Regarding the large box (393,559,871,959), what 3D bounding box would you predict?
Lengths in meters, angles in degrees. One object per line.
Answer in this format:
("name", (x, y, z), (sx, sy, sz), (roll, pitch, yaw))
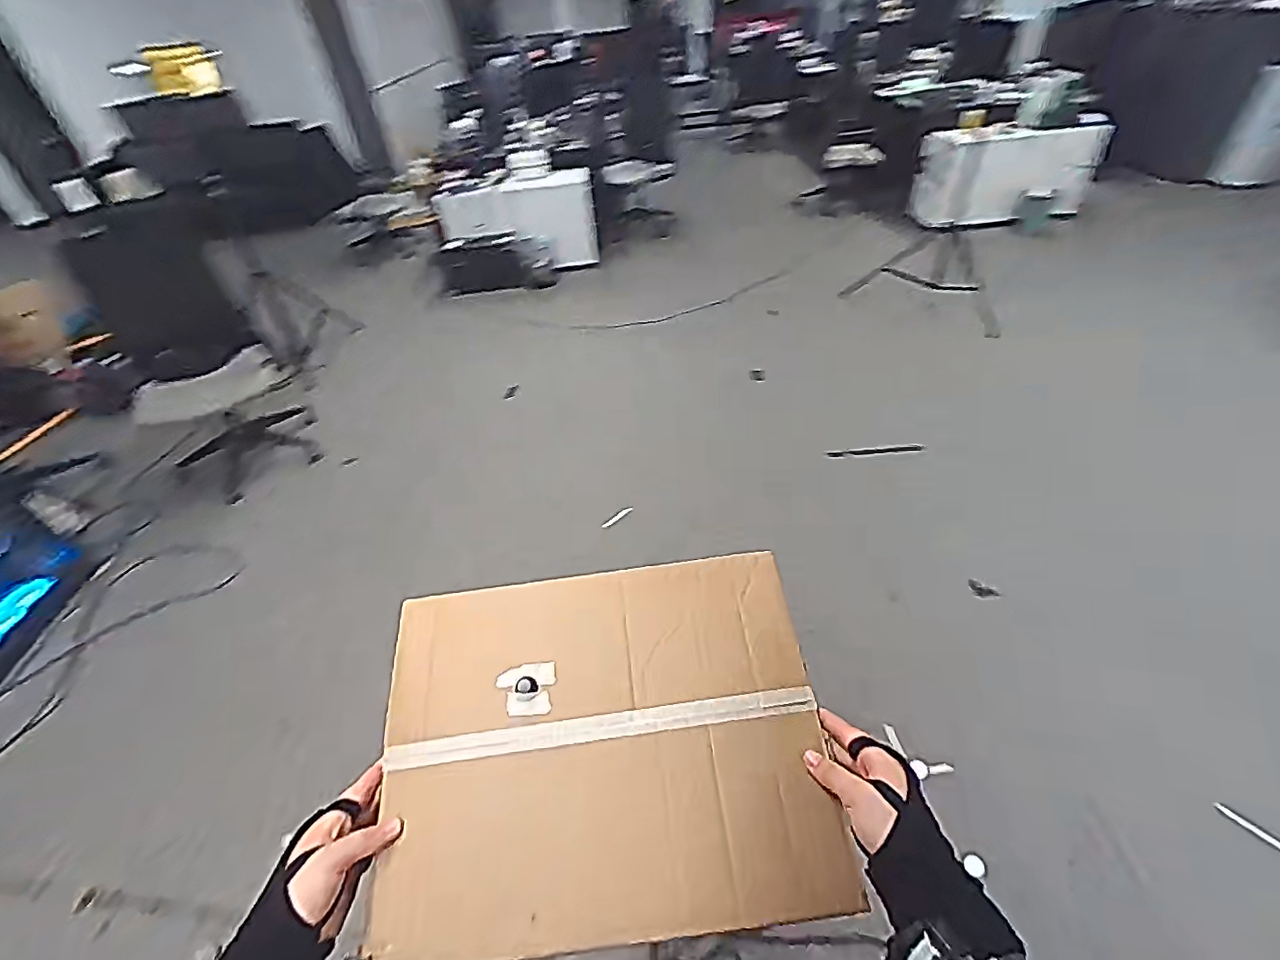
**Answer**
("large box", (-0.011, 0.322, 0.643), (0.408, 0.320, 0.320), (-8, 56, 0))
